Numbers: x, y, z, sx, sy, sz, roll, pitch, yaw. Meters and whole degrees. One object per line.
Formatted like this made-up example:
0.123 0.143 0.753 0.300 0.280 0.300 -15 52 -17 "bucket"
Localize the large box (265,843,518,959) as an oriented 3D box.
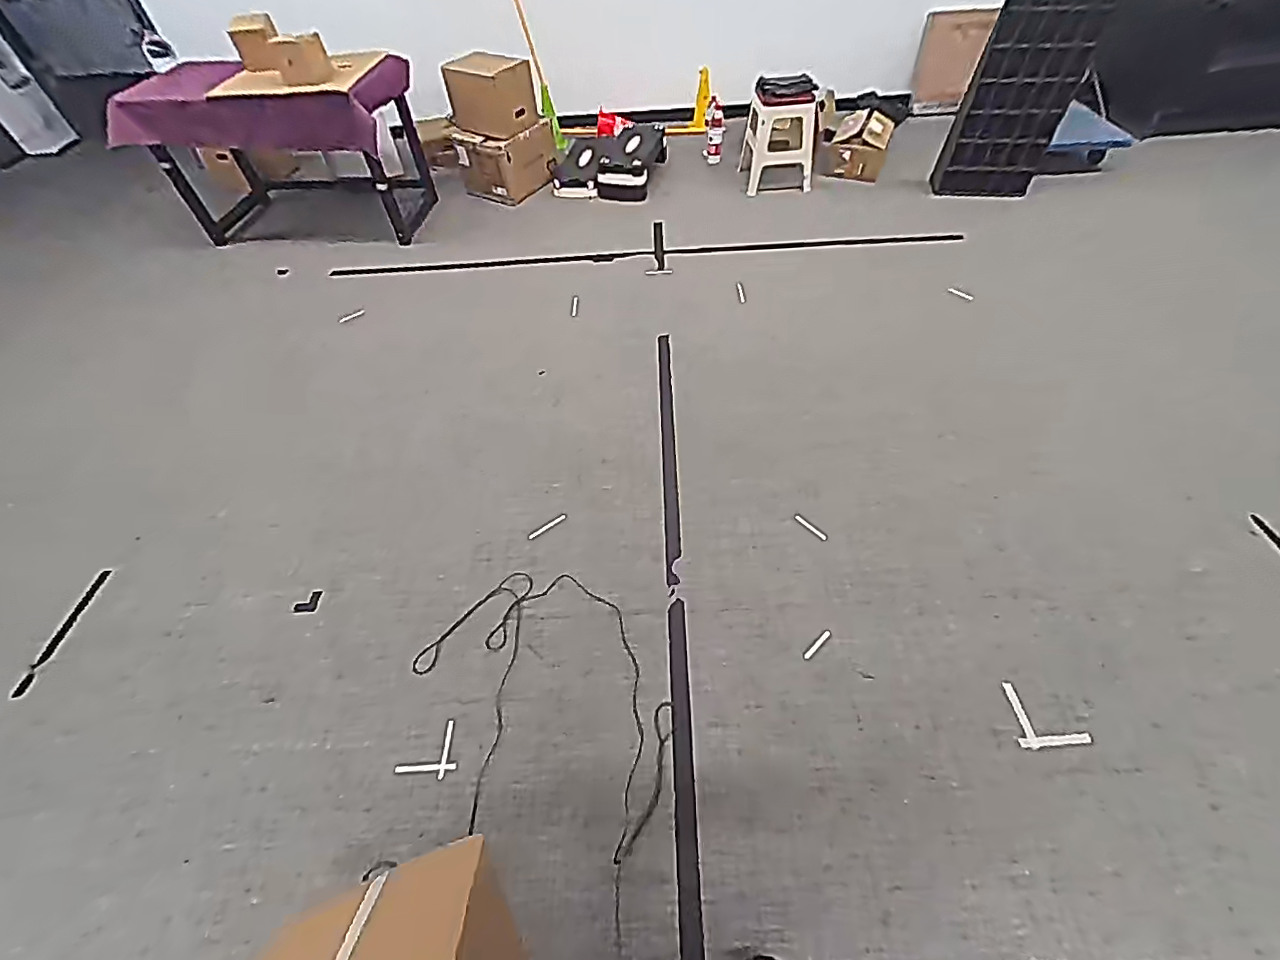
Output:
-0.311 0.754 0.644 0.320 0.408 0.320 -20 90 -10 "large box"
